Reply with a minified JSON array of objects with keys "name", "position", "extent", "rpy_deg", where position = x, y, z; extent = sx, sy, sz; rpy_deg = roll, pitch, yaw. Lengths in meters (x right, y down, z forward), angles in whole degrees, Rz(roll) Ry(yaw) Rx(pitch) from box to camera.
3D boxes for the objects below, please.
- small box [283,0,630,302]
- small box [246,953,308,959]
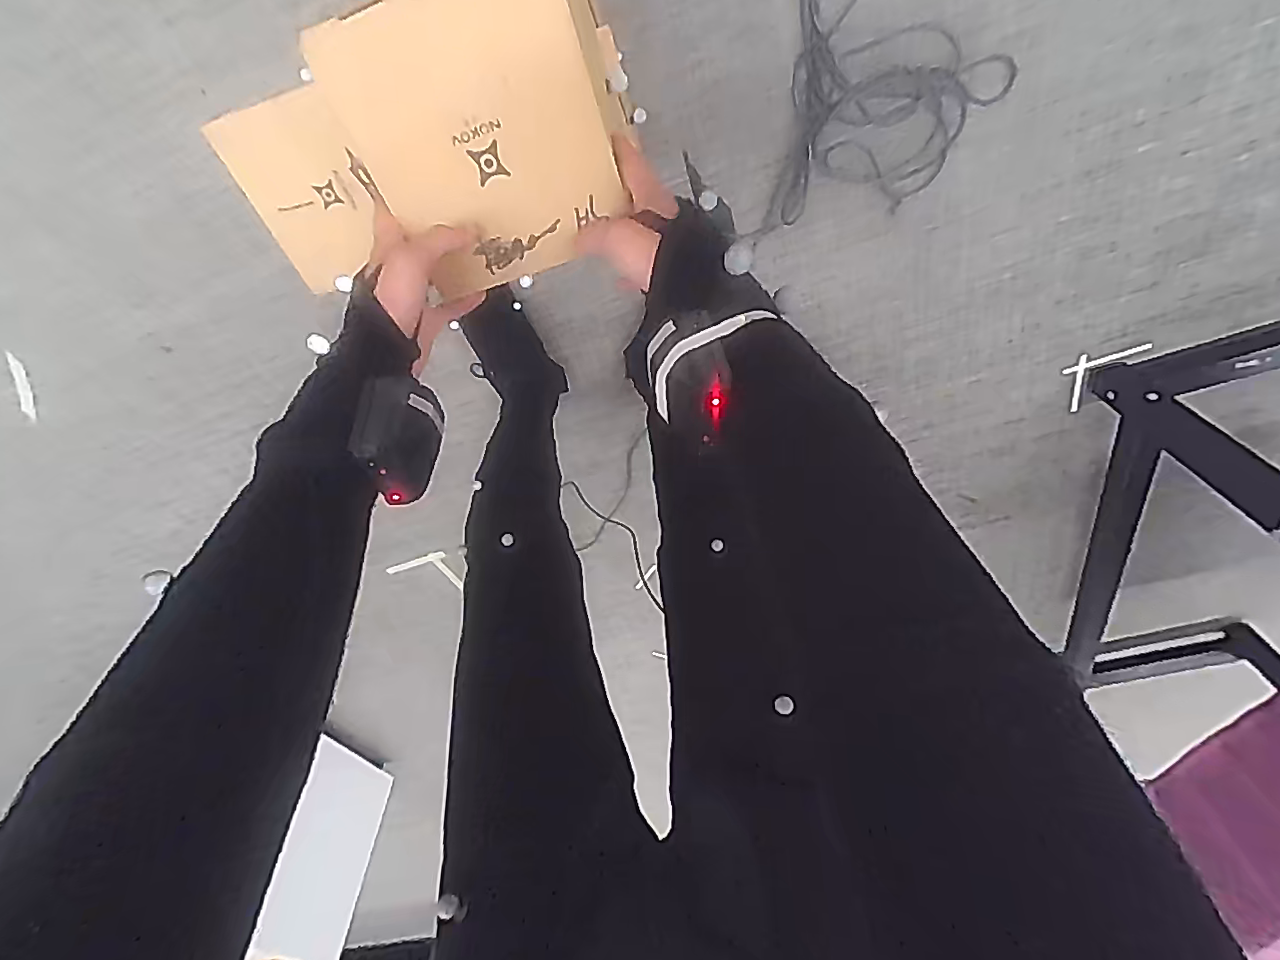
[{"name":"small box","position":[-0.110,-0.268,0.414],"extent":[0.168,0.176,0.179],"rpy_deg":[-13,128,11]},{"name":"small box","position":[-1.089,1.518,1.587],"extent":[0.179,0.176,0.168],"rpy_deg":[-16,129,13]}]
